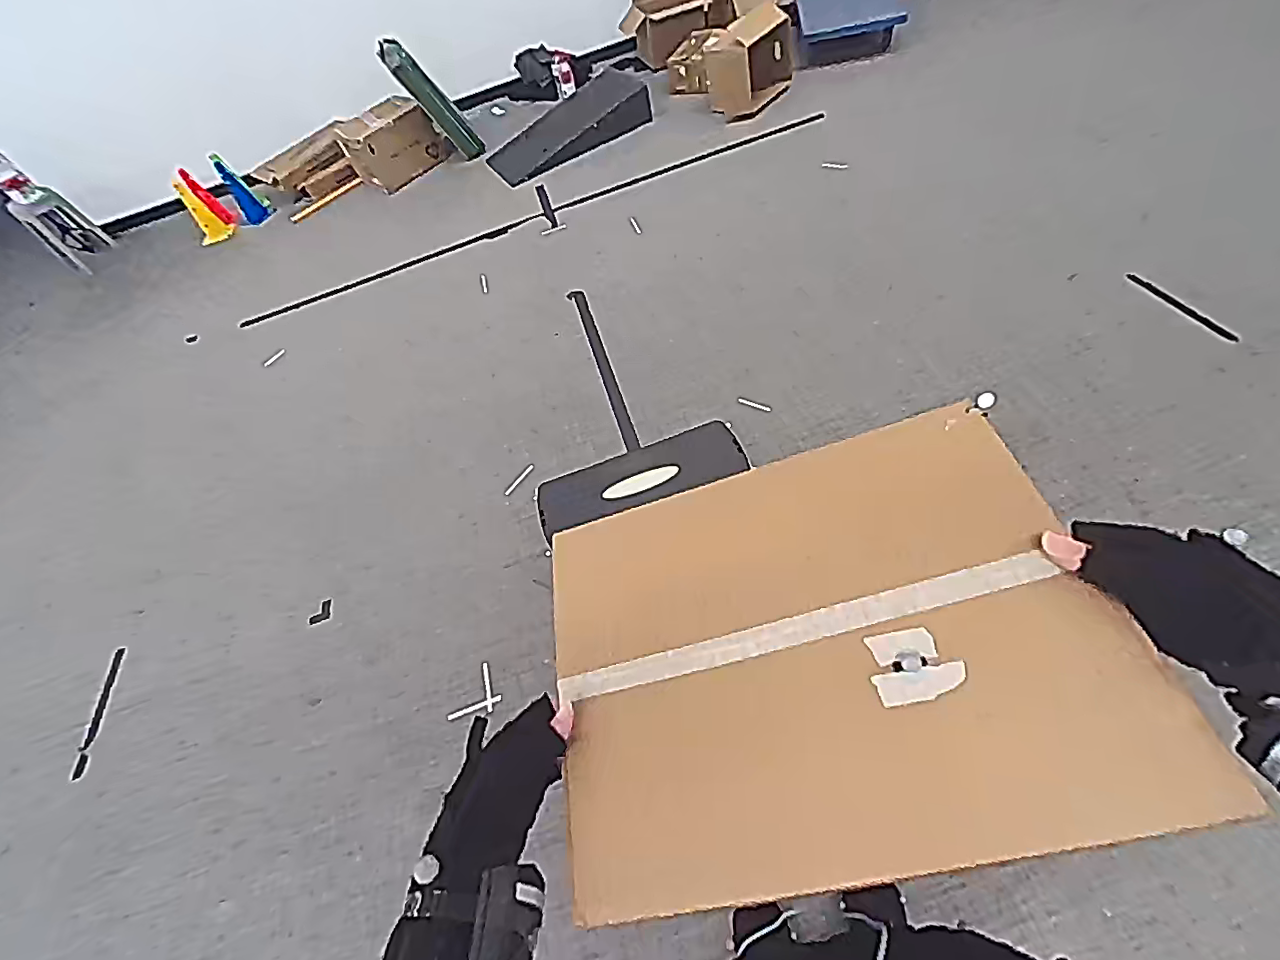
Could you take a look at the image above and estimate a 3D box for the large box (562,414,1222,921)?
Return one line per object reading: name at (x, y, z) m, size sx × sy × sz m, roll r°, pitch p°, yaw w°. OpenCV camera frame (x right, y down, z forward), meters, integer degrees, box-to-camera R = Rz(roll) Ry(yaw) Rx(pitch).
large box at (0.174, 0.202, 0.544) m, size 0.408 × 0.320 × 0.320 m, roll -19°, pitch 53°, yaw 10°
